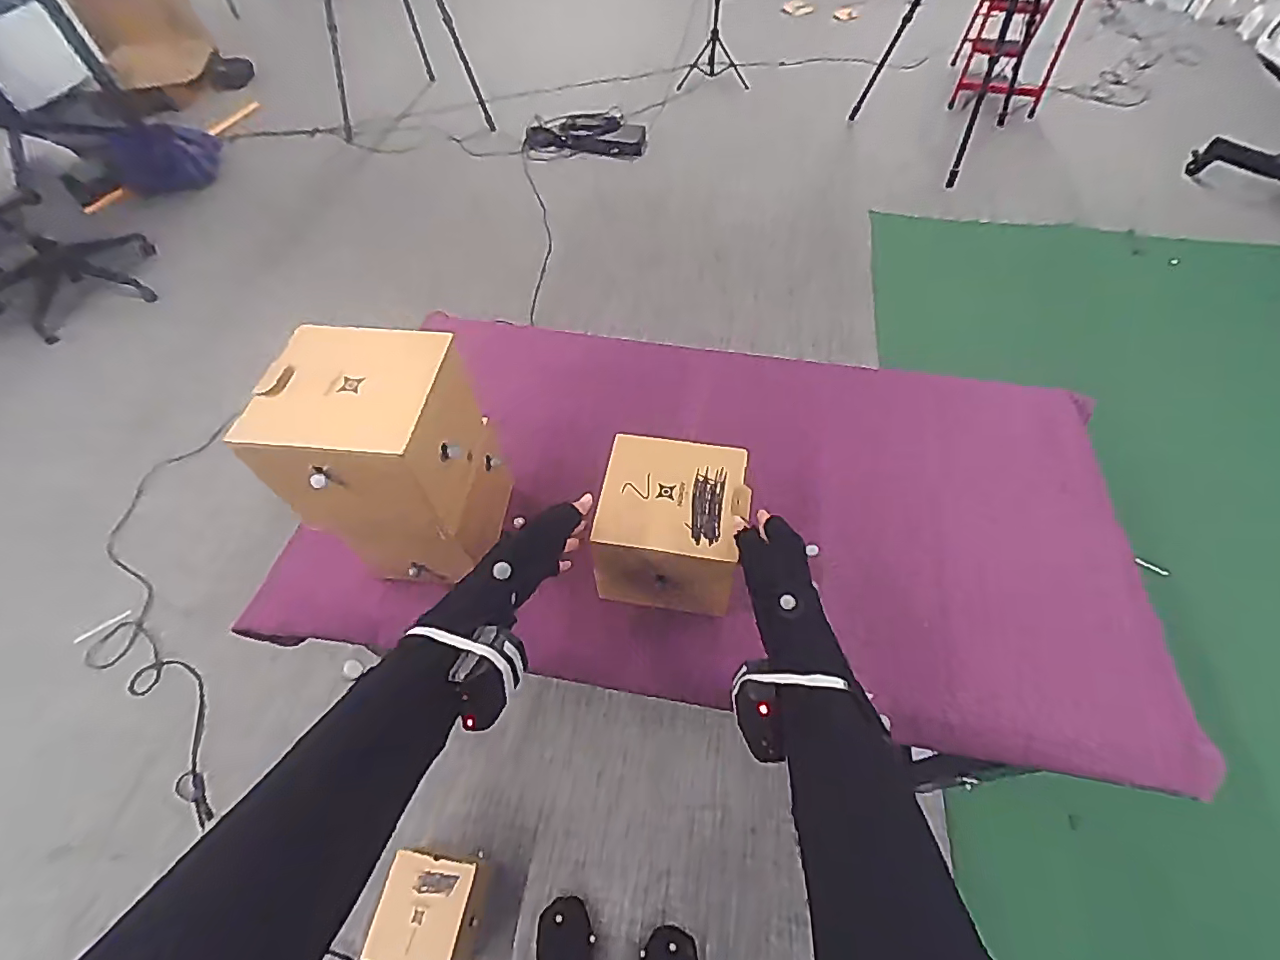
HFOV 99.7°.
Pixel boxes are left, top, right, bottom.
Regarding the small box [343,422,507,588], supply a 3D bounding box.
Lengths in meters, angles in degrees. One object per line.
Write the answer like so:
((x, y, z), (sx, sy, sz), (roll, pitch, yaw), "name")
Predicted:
((-0.292, 0.031, 0.755), (0.168, 0.176, 0.179), (5, 56, 2), "small box")

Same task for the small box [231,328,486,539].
((-0.290, -0.046, 0.610), (0.179, 0.176, 0.168), (5, 56, 3), "small box")
